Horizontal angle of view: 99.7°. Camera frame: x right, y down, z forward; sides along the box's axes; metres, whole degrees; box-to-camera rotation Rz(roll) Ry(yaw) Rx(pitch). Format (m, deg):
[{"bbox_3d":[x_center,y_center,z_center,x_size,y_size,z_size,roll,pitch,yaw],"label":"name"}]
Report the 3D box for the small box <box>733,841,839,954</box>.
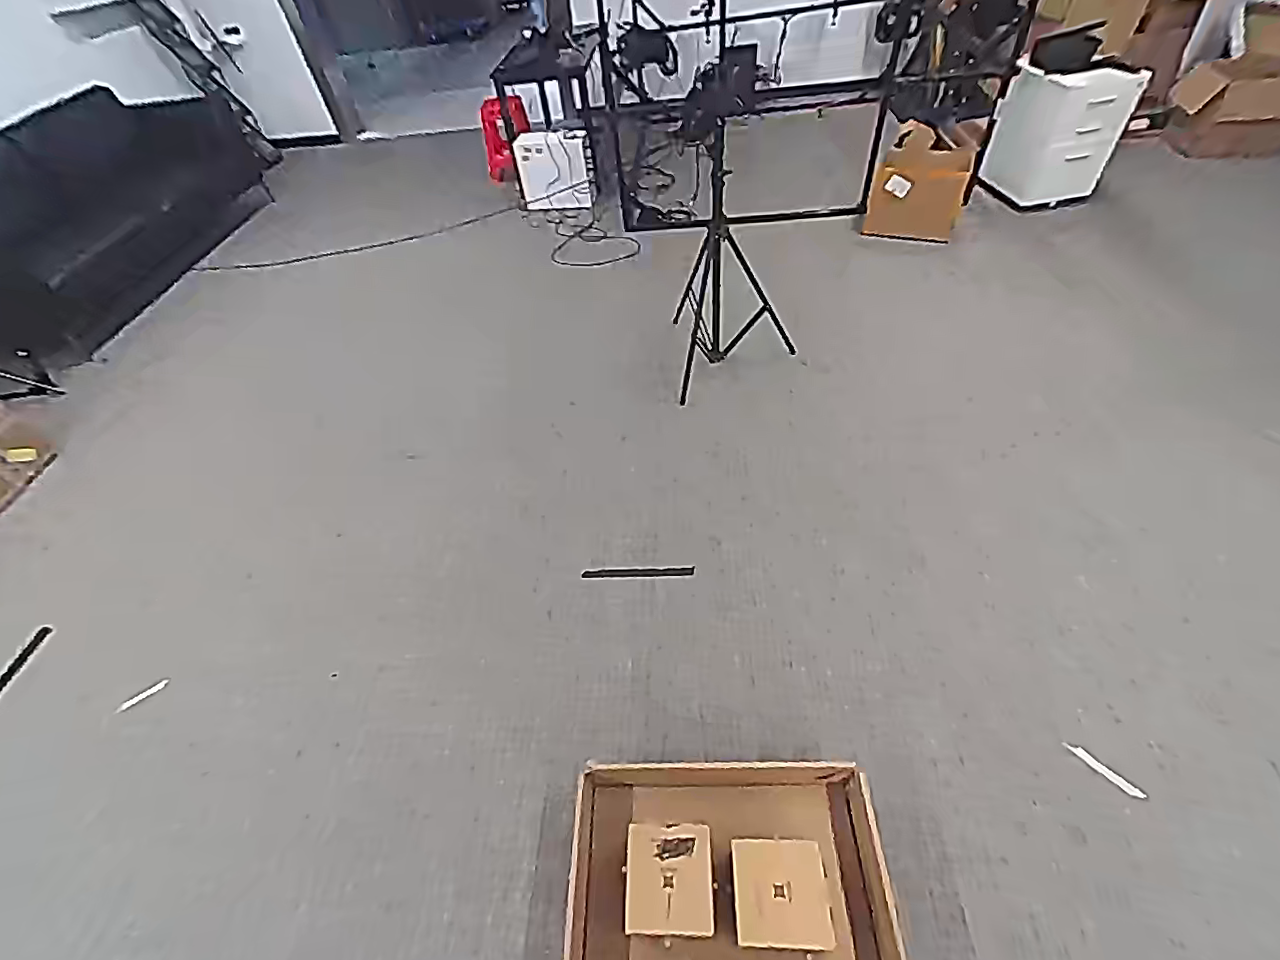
[{"bbox_3d":[0.278,0.827,1.071,0.179,0.176,0.168,-4,47,7],"label":"small box"}]
